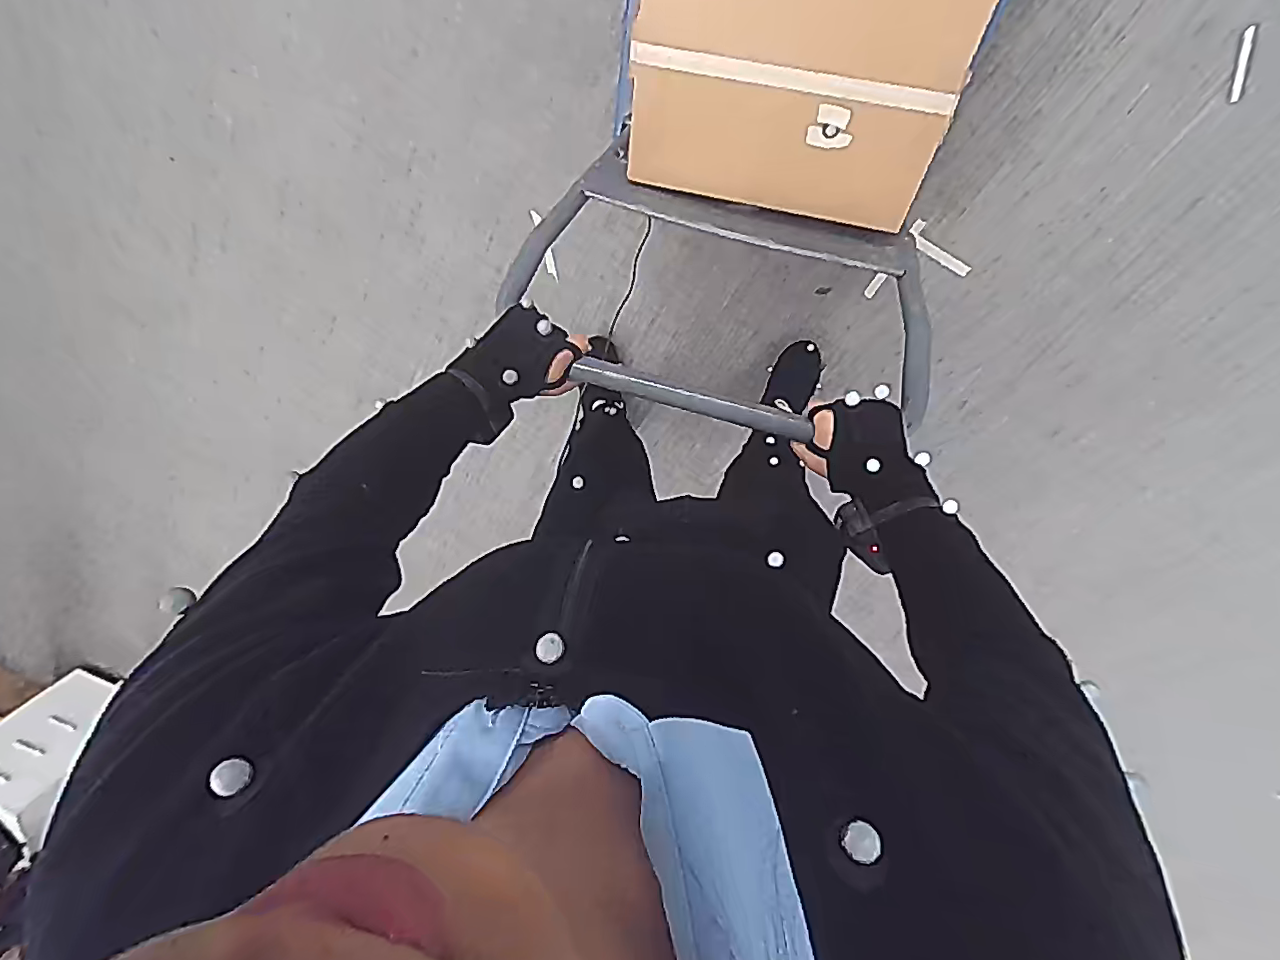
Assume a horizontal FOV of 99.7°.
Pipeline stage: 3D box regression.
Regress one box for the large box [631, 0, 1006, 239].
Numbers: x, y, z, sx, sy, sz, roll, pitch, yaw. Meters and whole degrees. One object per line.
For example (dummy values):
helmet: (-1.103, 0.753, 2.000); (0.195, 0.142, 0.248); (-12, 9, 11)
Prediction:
large box: (0.224, -0.589, 0.778); (0.408, 0.320, 0.320); (14, 136, 5)
